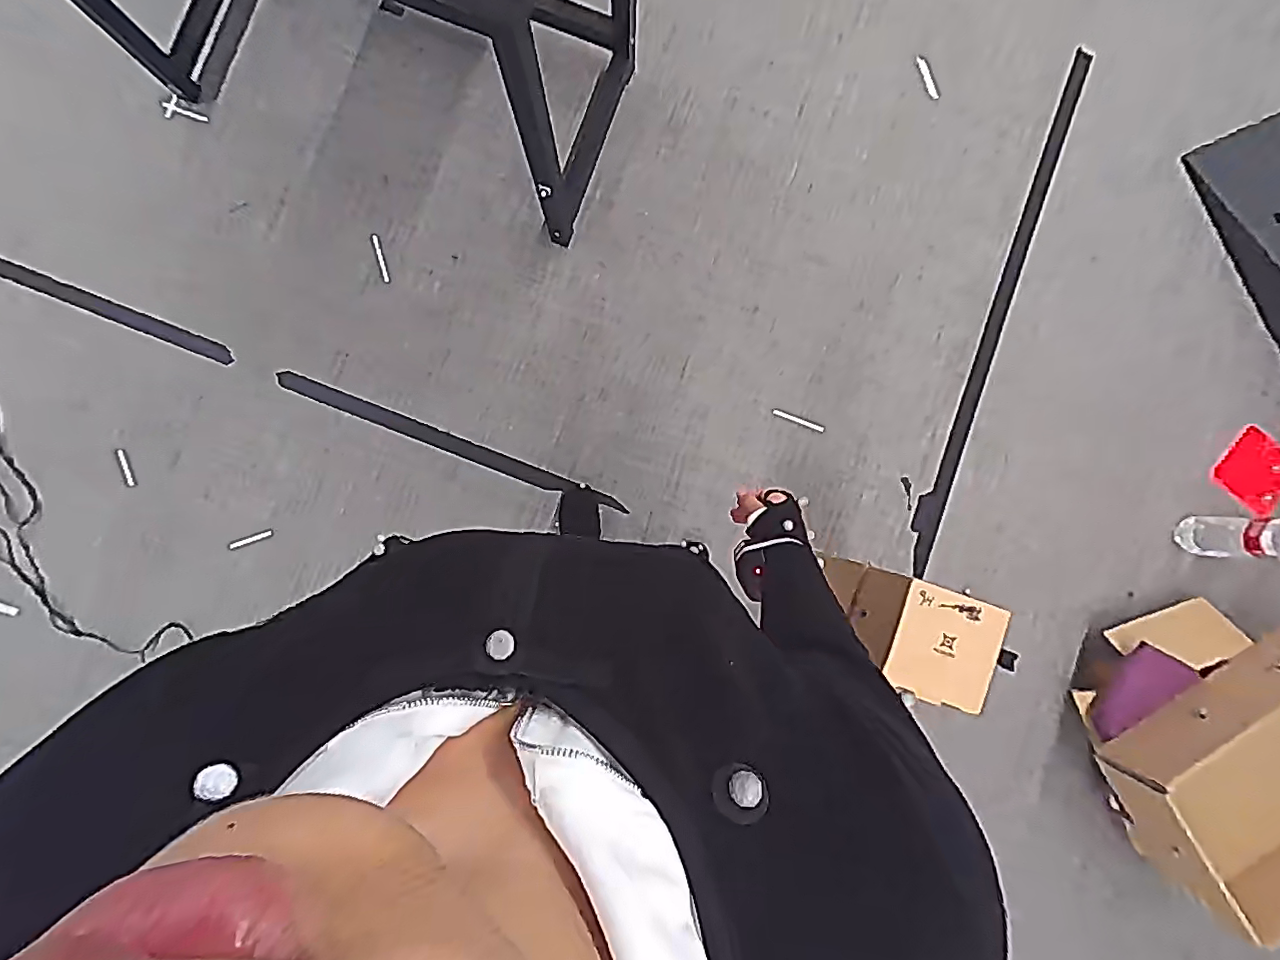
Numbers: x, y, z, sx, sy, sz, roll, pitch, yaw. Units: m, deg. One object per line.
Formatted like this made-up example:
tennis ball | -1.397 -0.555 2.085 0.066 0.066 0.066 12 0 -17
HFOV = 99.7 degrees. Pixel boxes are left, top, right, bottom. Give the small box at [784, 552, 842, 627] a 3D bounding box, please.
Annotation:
small box | 0.465 0.274 1.268 0.179 0.176 0.168 21 87 1

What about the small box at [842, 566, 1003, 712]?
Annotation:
small box | 0.476 0.265 0.942 0.168 0.176 0.179 20 88 0

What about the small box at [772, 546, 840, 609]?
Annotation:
small box | 0.468 0.282 1.432 0.168 0.176 0.179 21 87 0

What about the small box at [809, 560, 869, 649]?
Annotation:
small box | 0.470 0.269 1.106 0.179 0.176 0.168 20 88 -1
